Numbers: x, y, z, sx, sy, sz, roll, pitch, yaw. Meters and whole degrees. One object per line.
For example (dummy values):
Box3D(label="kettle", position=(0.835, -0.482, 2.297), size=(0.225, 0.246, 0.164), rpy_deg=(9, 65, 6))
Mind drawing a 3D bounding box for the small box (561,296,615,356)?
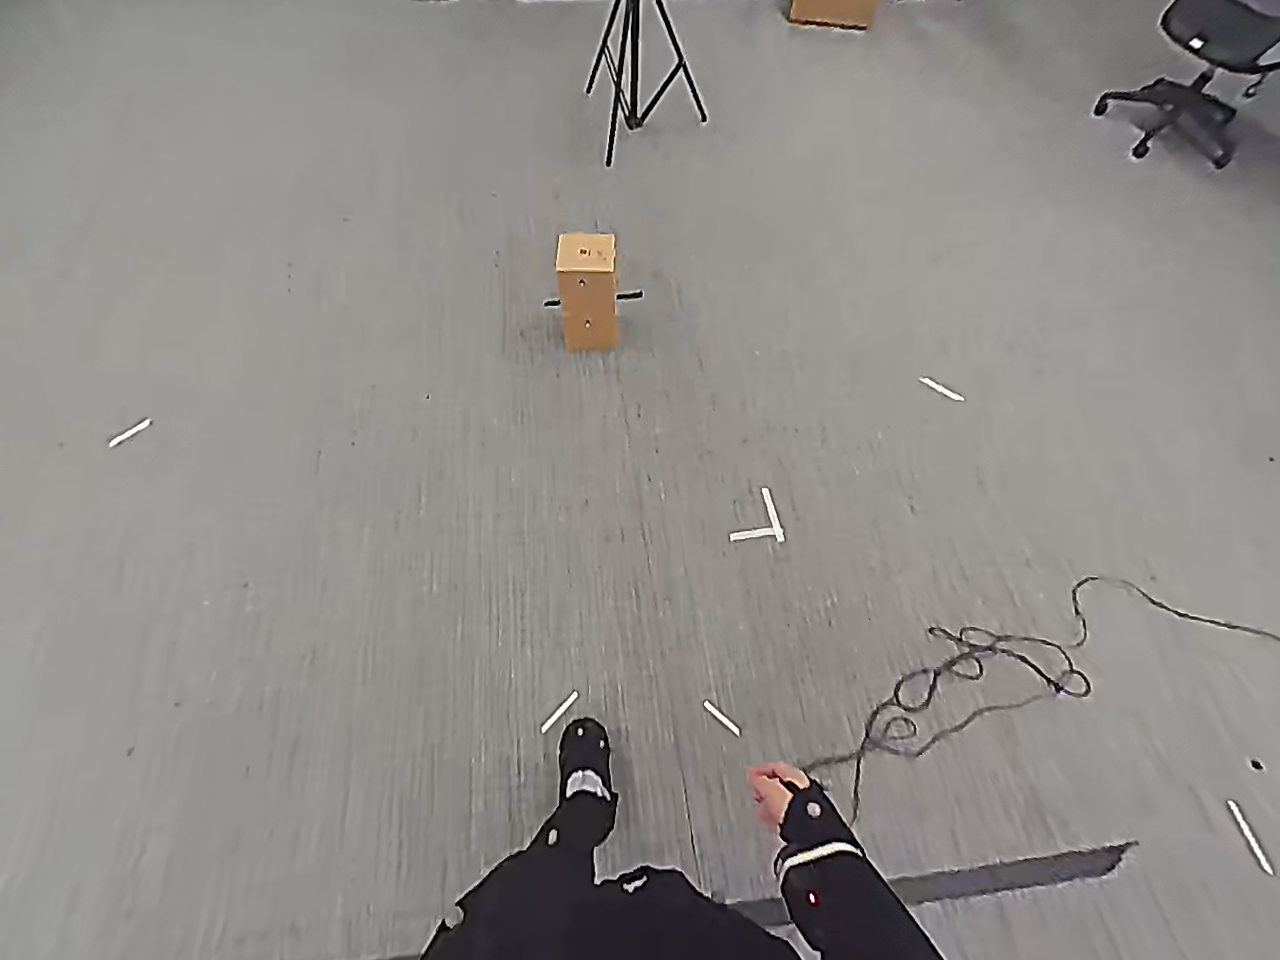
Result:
Box3D(label="small box", position=(-0.173, -0.541, 1.855), size=(0.179, 0.176, 0.168), rpy_deg=(-2, 62, -2))

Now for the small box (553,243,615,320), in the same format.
Box3D(label="small box", position=(-0.172, -0.627, 1.714), size=(0.179, 0.176, 0.168), rpy_deg=(1, 62, -1))
